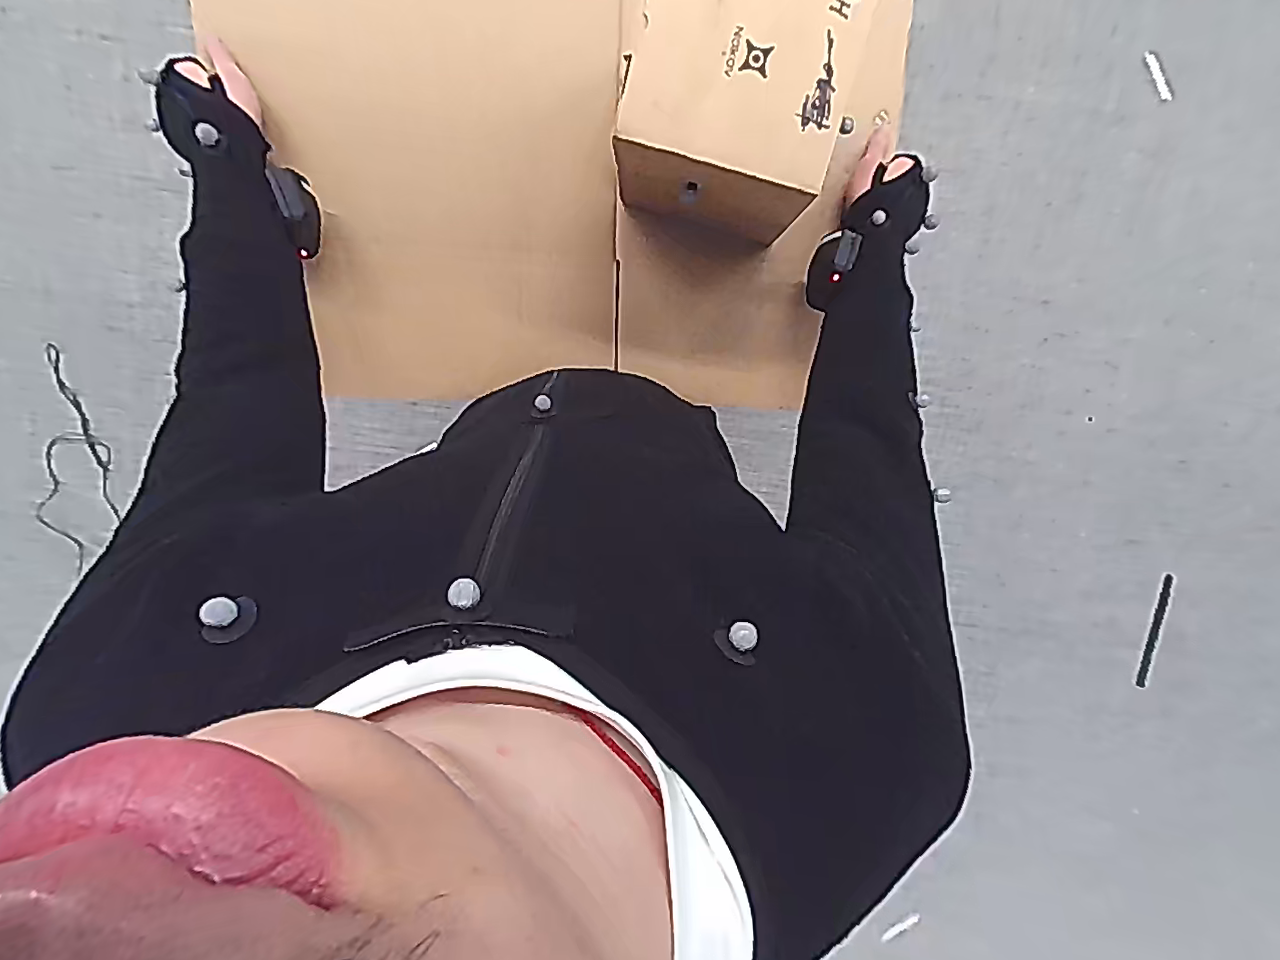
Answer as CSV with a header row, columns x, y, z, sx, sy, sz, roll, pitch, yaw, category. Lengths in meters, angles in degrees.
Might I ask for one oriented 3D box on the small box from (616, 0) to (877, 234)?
x,y,z,sx,sy,sz,roll,pitch,yaw,category
0.086,-0.350,0.503,0.179,0.176,0.168,15,101,-1,small box
